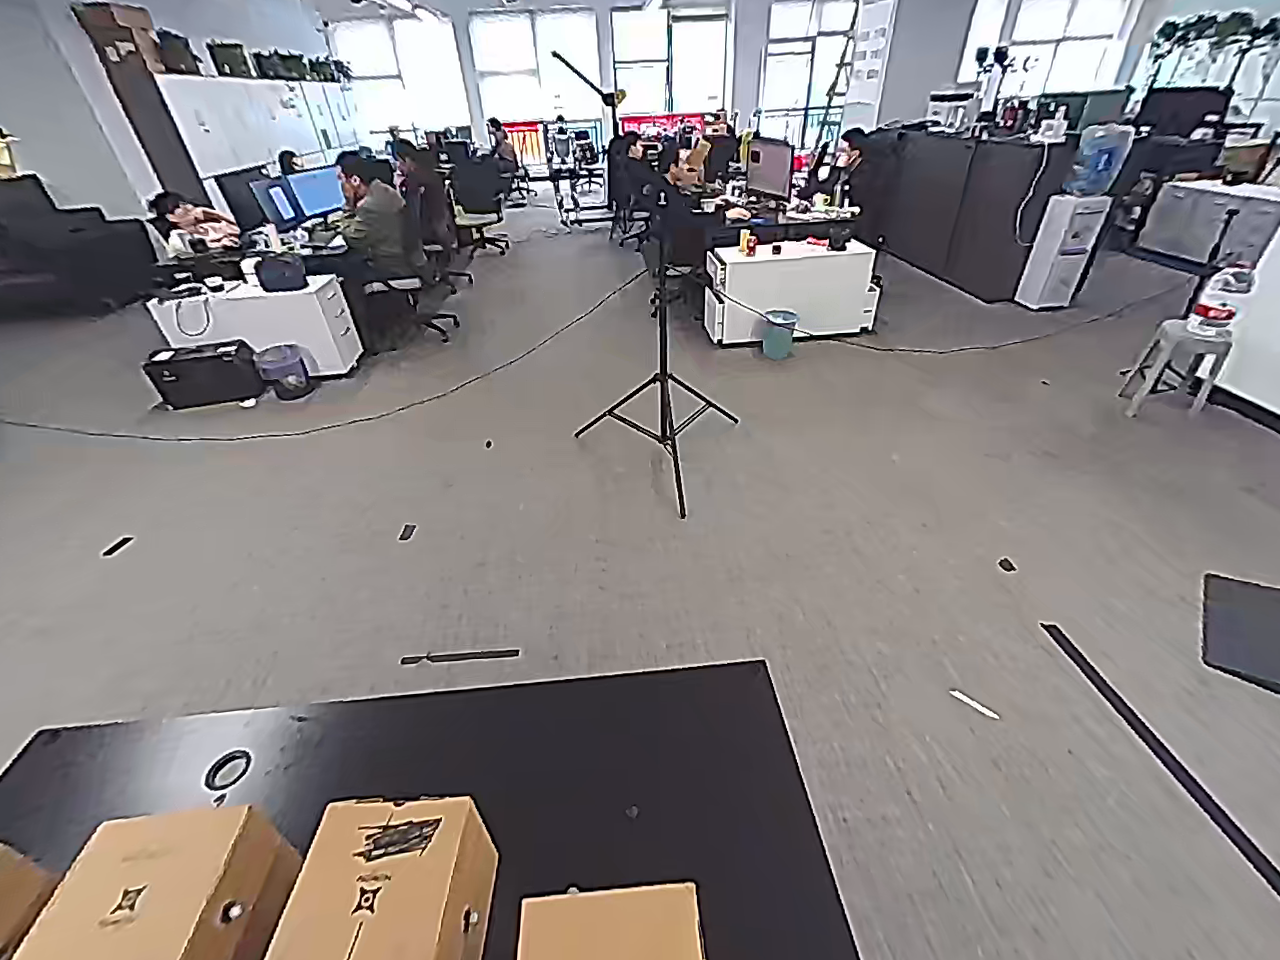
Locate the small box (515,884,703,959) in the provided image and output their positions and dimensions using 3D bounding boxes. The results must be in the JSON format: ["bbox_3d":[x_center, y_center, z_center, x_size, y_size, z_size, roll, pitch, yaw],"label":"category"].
[{"bbox_3d":[-0.023,0.524,0.521,0.179,0.176,0.168,-4,36,-2],"label":"small box"}]

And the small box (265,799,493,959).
[{"bbox_3d":[-0.268,0.483,0.596,0.168,0.176,0.179,-2,36,0],"label":"small box"}]

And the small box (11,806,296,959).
[{"bbox_3d":[-0.518,0.497,0.594,0.168,0.176,0.179,-4,34,-4],"label":"small box"}]
